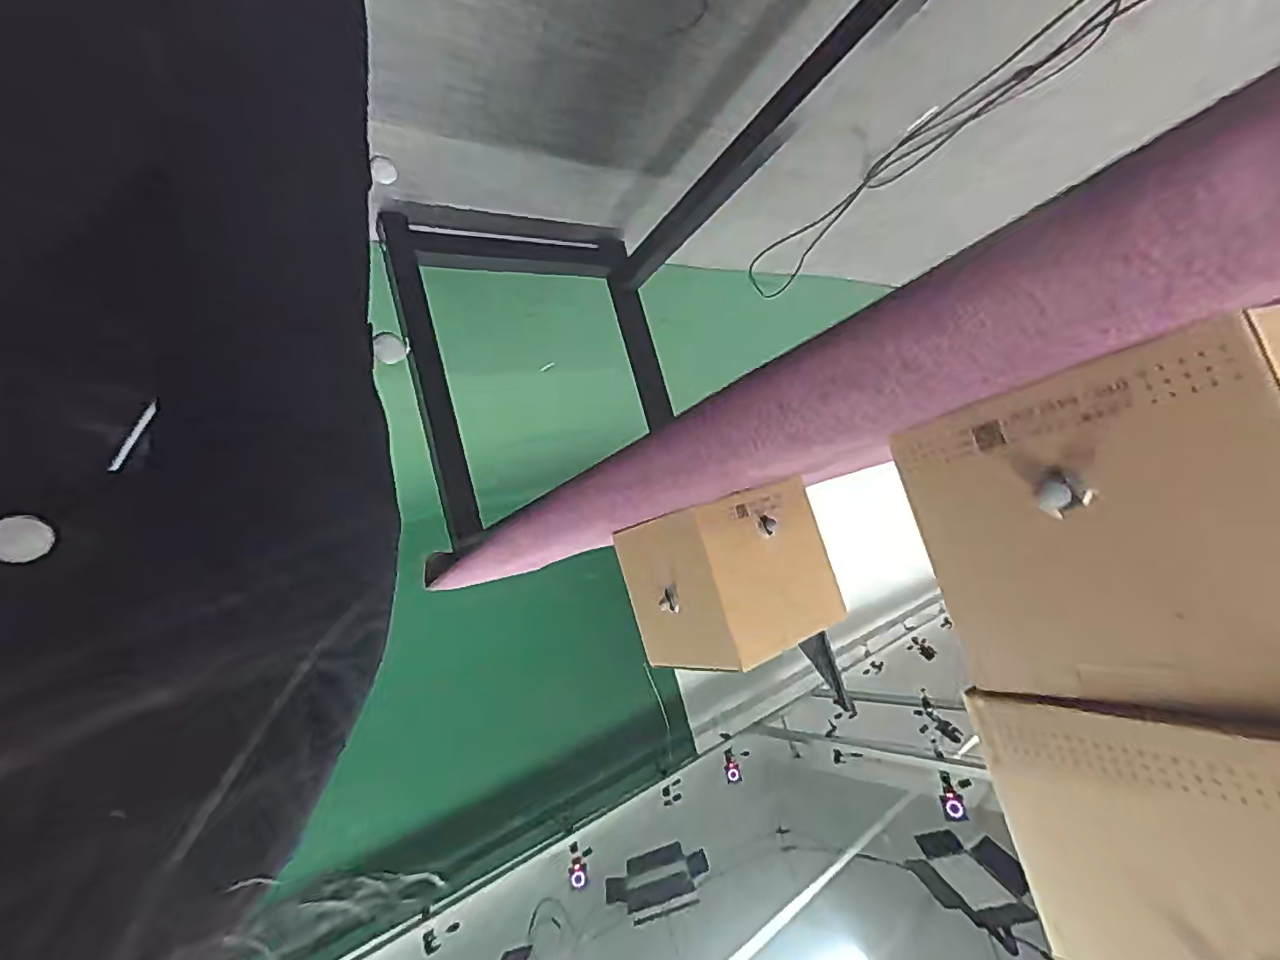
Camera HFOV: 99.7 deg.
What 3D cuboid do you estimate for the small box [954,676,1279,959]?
[{"bbox_3d":[0.315,0.168,0.307,0.168,0.176,0.179,-14,173,-26],"label":"small box"}]
